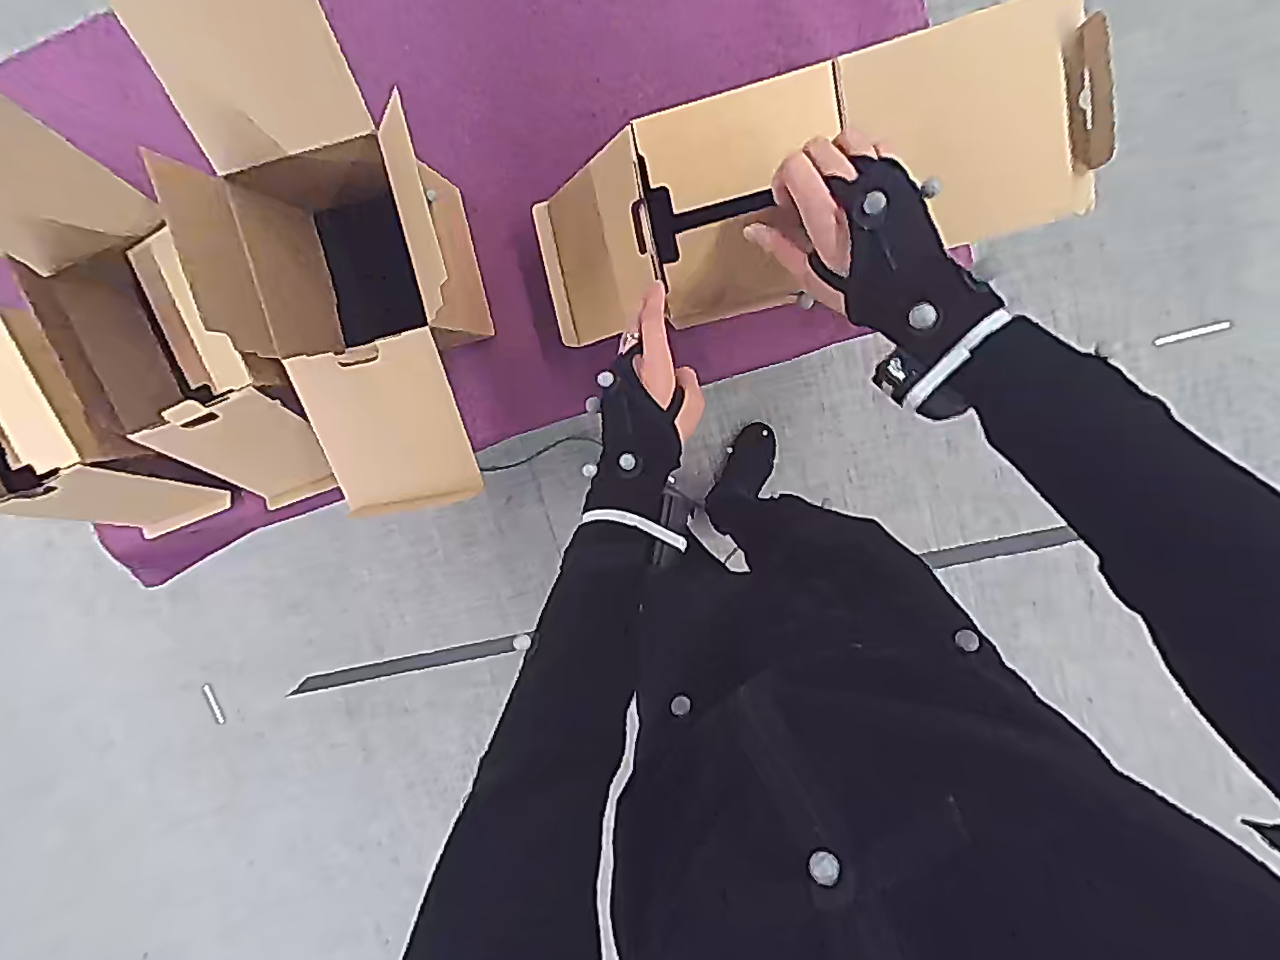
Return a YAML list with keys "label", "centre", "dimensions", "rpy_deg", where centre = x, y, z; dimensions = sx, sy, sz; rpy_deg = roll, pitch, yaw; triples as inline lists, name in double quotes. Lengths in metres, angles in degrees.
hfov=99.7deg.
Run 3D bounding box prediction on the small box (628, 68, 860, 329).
- label: "small box"
  centre: [0.096, -0.254, 0.535]
  dimensions: [0.179, 0.176, 0.168]
  rpy_deg: [-11, 100, 8]
